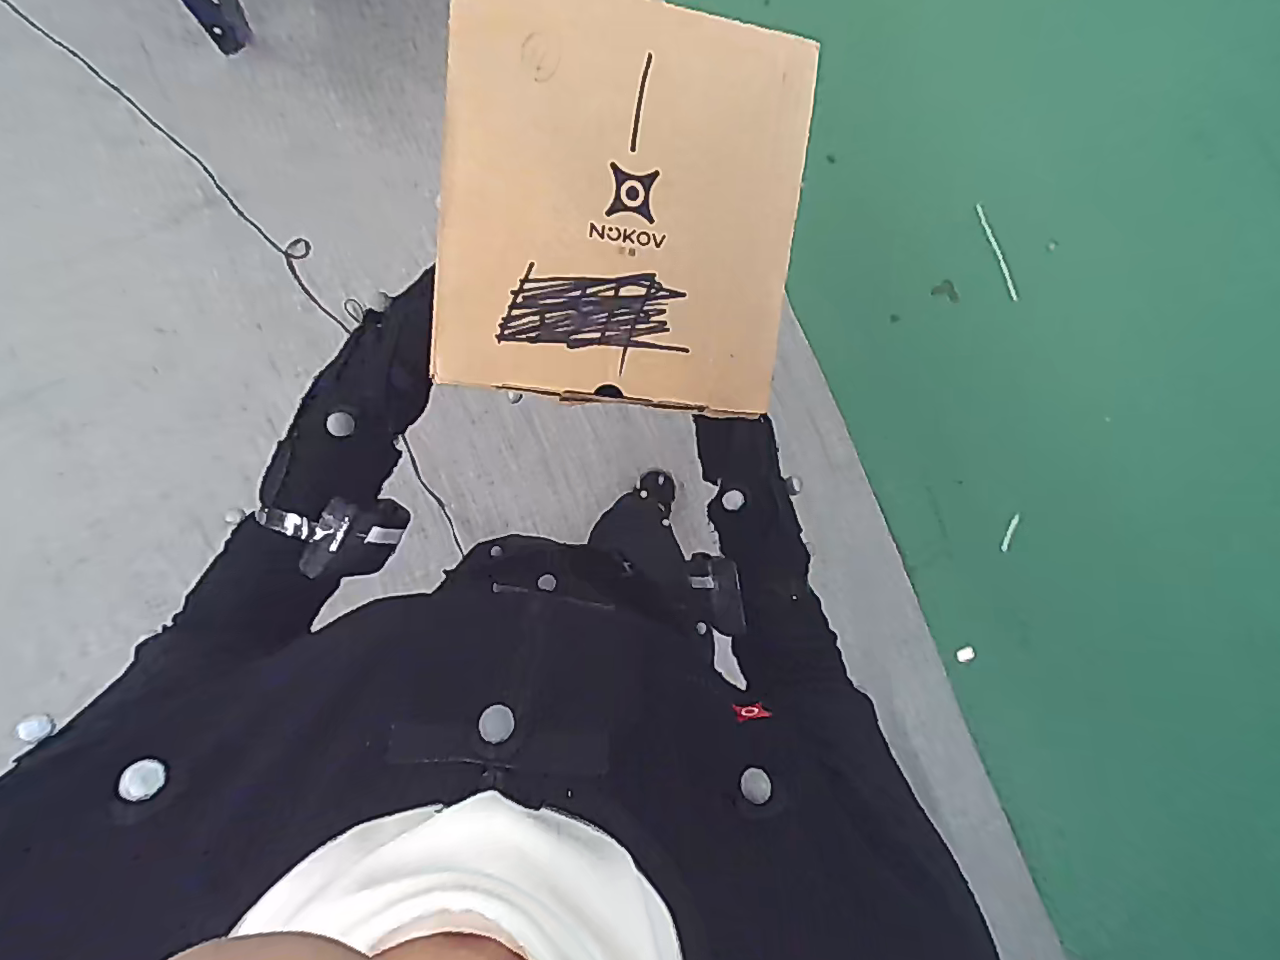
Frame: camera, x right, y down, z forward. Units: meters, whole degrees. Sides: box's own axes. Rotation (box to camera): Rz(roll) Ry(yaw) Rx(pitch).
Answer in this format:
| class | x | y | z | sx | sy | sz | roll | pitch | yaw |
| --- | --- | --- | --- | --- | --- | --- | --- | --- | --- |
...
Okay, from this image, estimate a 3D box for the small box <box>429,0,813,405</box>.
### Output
| class | x | y | z | sx | sy | sz | roll | pitch | yaw |
| --- | --- | --- | --- | --- | --- | --- | --- | --- | --- |
| small box | -0.021 | -0.146 | 0.328 | 0.168 | 0.176 | 0.179 | 4 | 100 | -10 |
